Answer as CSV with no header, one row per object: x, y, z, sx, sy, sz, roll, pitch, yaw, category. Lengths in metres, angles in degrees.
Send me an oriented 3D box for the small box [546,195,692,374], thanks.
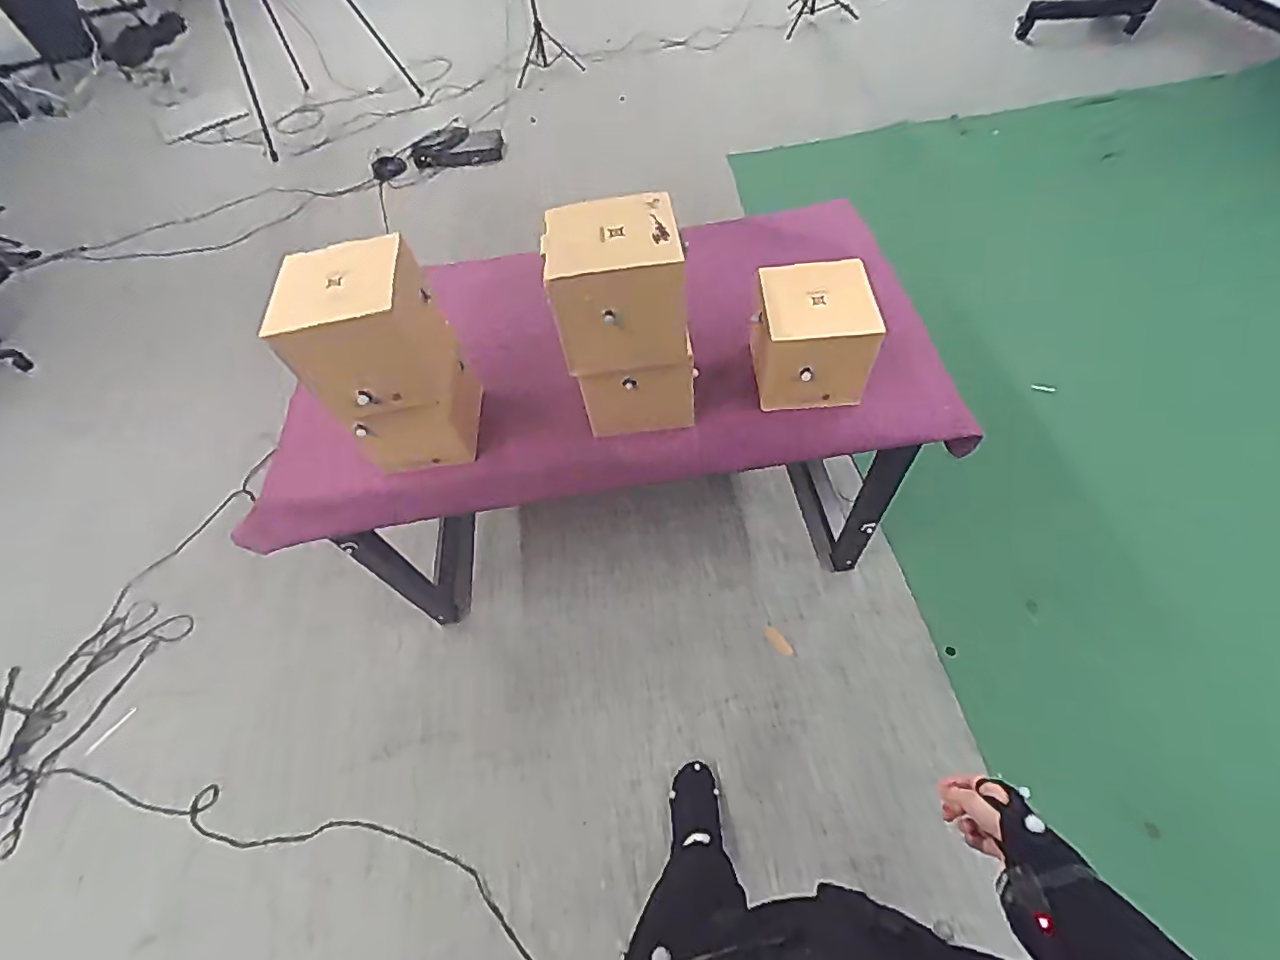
-0.025,-0.268,0.763,0.179,0.176,0.168,-7,56,3,small box

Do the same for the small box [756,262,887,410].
0.288,-0.230,0.899,0.168,0.176,0.179,-4,56,5,small box

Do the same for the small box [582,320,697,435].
0.000,-0.190,0.906,0.179,0.176,0.168,-6,56,2,small box

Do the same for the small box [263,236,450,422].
-0.382,-0.211,0.767,0.168,0.176,0.179,-12,55,-1,small box
